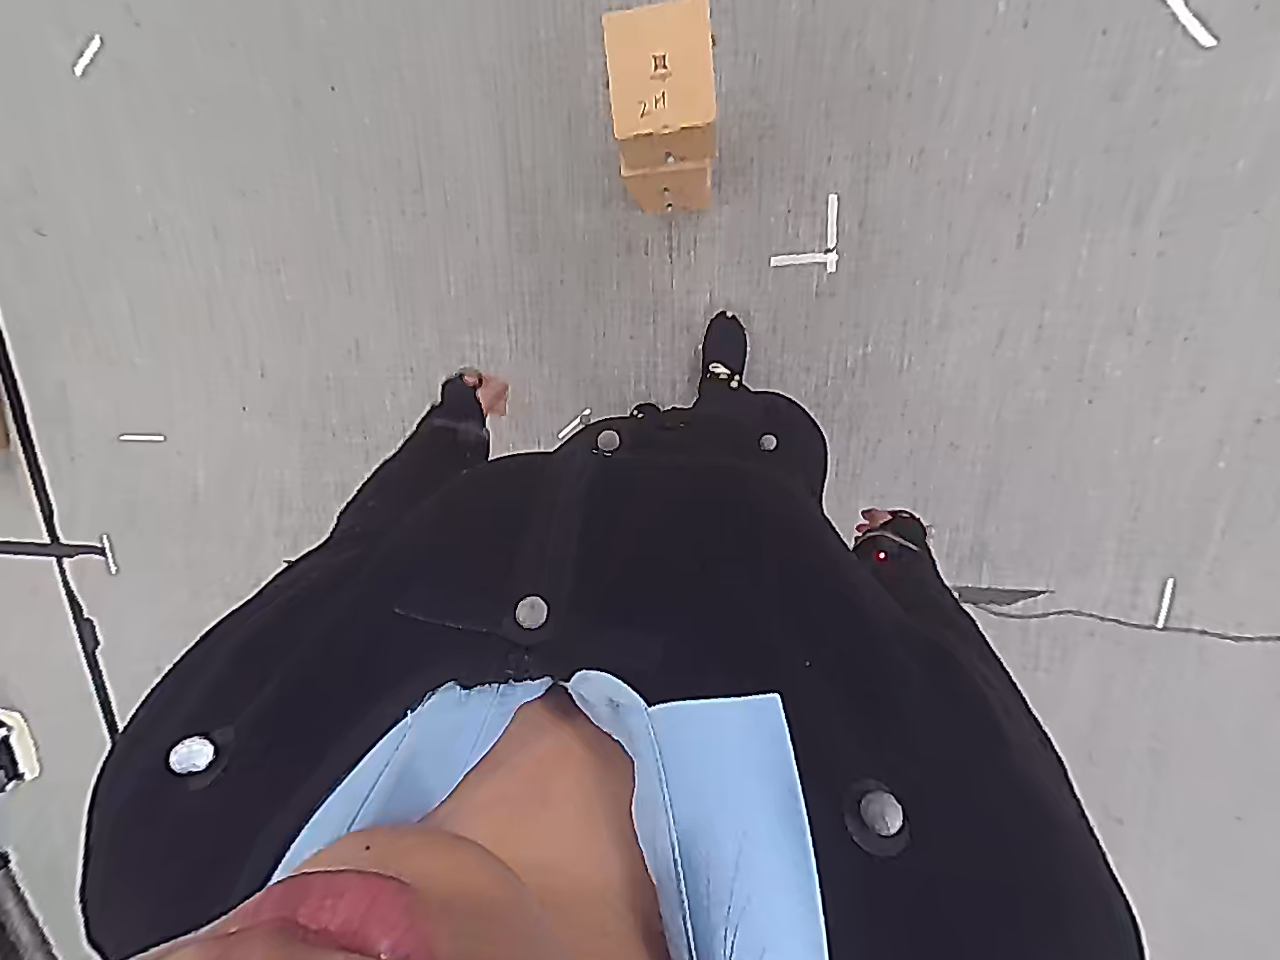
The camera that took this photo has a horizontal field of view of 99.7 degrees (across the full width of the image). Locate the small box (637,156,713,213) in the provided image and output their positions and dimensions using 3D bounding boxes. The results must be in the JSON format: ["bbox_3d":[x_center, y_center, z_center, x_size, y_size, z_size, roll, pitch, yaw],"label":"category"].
[{"bbox_3d":[0.081,-0.727,1.231,0.168,0.176,0.179,-1,104,7],"label":"small box"}]

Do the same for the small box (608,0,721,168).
[{"bbox_3d":[0.046,-0.657,0.911,0.168,0.176,0.179,-4,104,8],"label":"small box"}]
